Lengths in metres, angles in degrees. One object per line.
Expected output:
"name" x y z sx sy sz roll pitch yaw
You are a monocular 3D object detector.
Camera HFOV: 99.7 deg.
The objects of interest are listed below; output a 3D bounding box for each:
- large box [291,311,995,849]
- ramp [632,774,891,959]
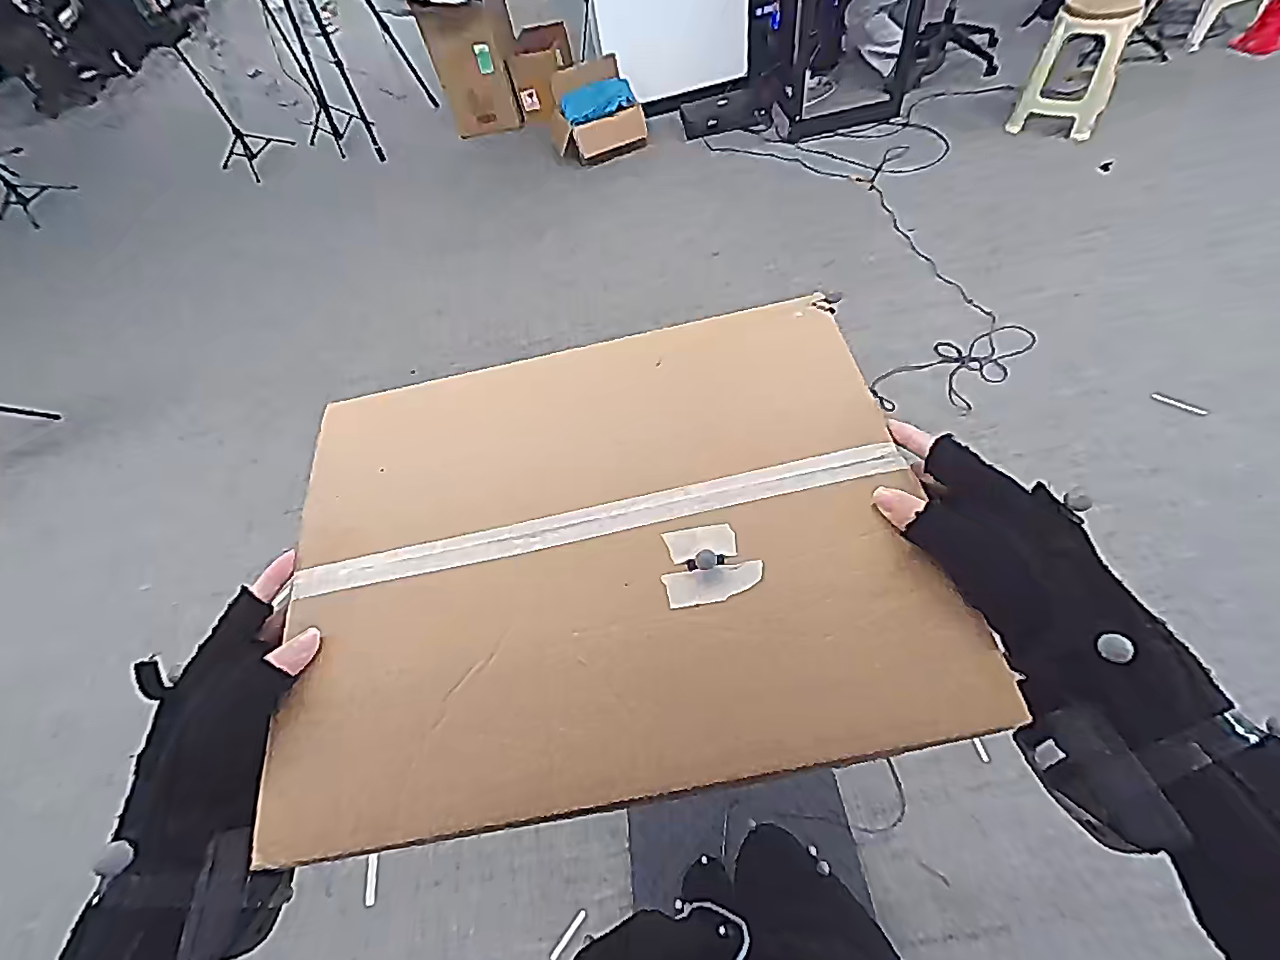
"large box" -0.008 0.106 0.496 0.408 0.320 0.320 -12 60 2
"ramp" 0.253 1.078 0.928 0.509 0.206 0.991 -12 55 4
